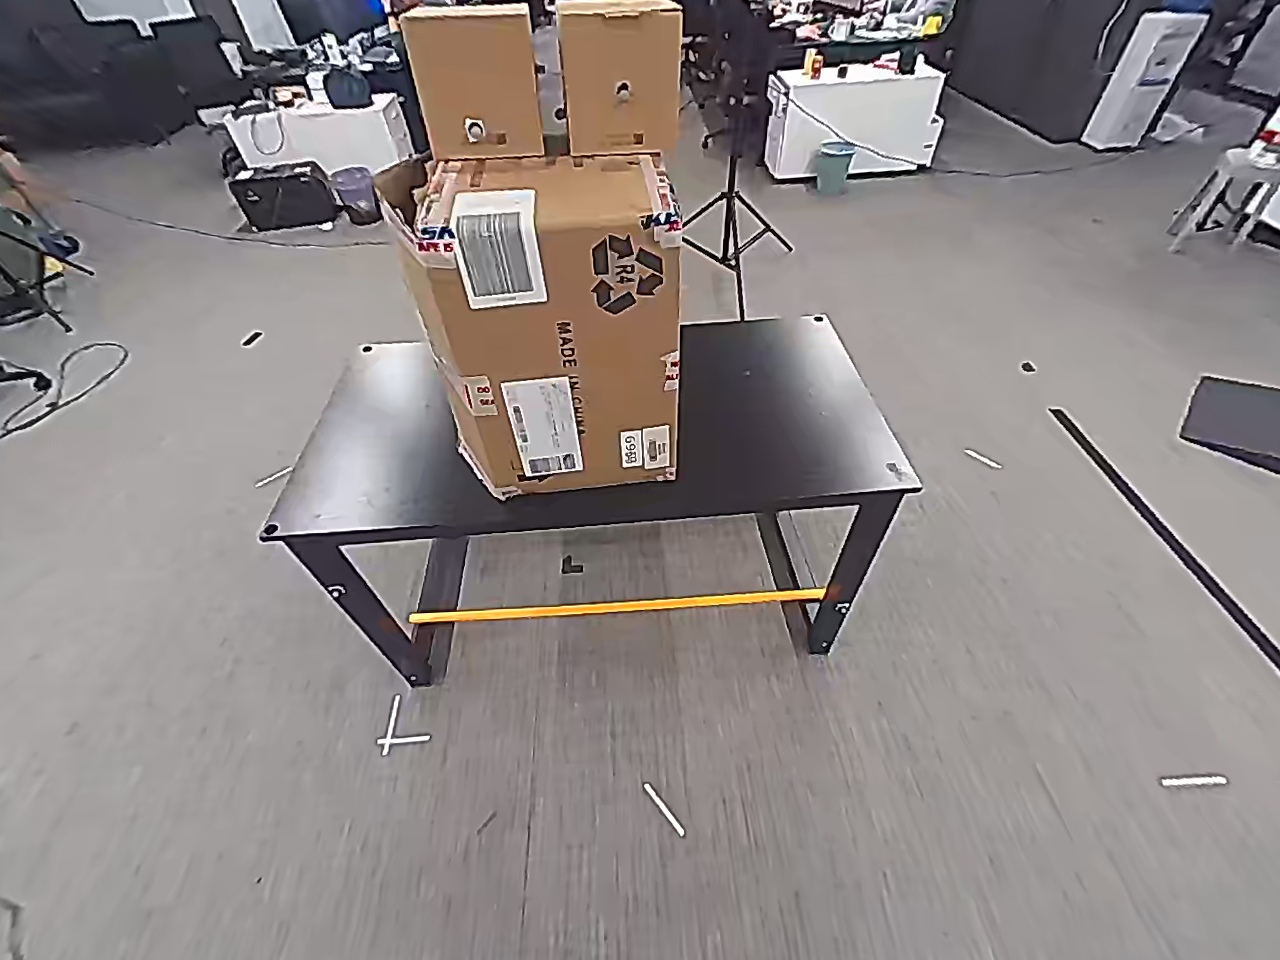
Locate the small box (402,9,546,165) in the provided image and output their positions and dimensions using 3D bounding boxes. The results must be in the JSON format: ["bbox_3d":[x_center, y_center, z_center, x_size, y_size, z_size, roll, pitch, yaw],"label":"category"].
[{"bbox_3d":[-0.237,-0.593,0.817,0.168,0.176,0.179,-8,45,-5],"label":"small box"}]

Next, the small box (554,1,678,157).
[{"bbox_3d":[-0.038,-0.610,0.827,0.168,0.176,0.179,-6,47,-6],"label":"small box"}]
